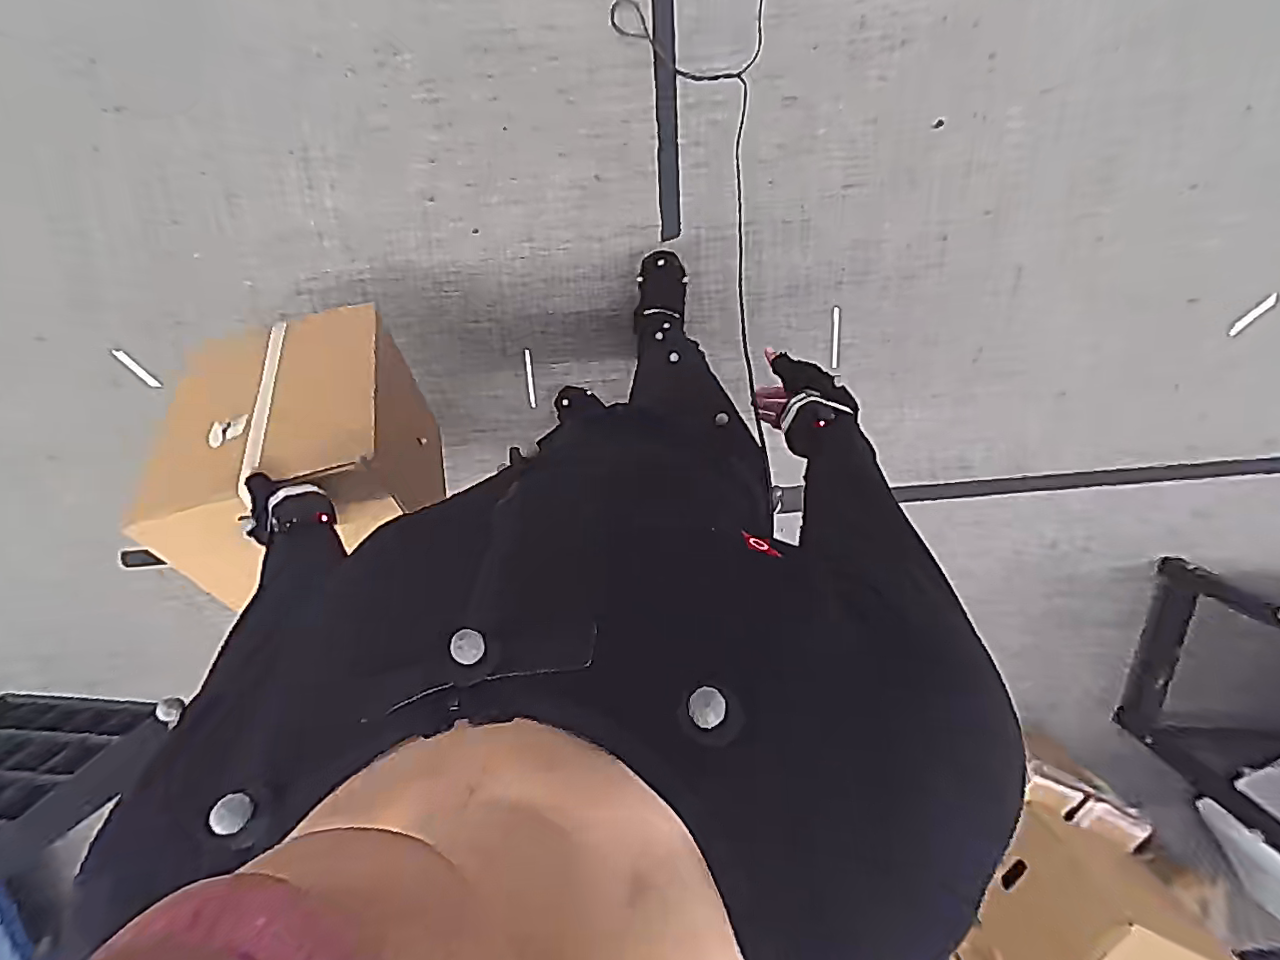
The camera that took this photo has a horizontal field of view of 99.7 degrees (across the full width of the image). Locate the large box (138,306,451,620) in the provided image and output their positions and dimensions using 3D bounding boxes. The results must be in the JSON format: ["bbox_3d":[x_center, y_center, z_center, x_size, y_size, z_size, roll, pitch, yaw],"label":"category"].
[{"bbox_3d":[-0.543,-0.036,0.938,0.320,0.408,0.320,-16,142,-8],"label":"large box"}]
